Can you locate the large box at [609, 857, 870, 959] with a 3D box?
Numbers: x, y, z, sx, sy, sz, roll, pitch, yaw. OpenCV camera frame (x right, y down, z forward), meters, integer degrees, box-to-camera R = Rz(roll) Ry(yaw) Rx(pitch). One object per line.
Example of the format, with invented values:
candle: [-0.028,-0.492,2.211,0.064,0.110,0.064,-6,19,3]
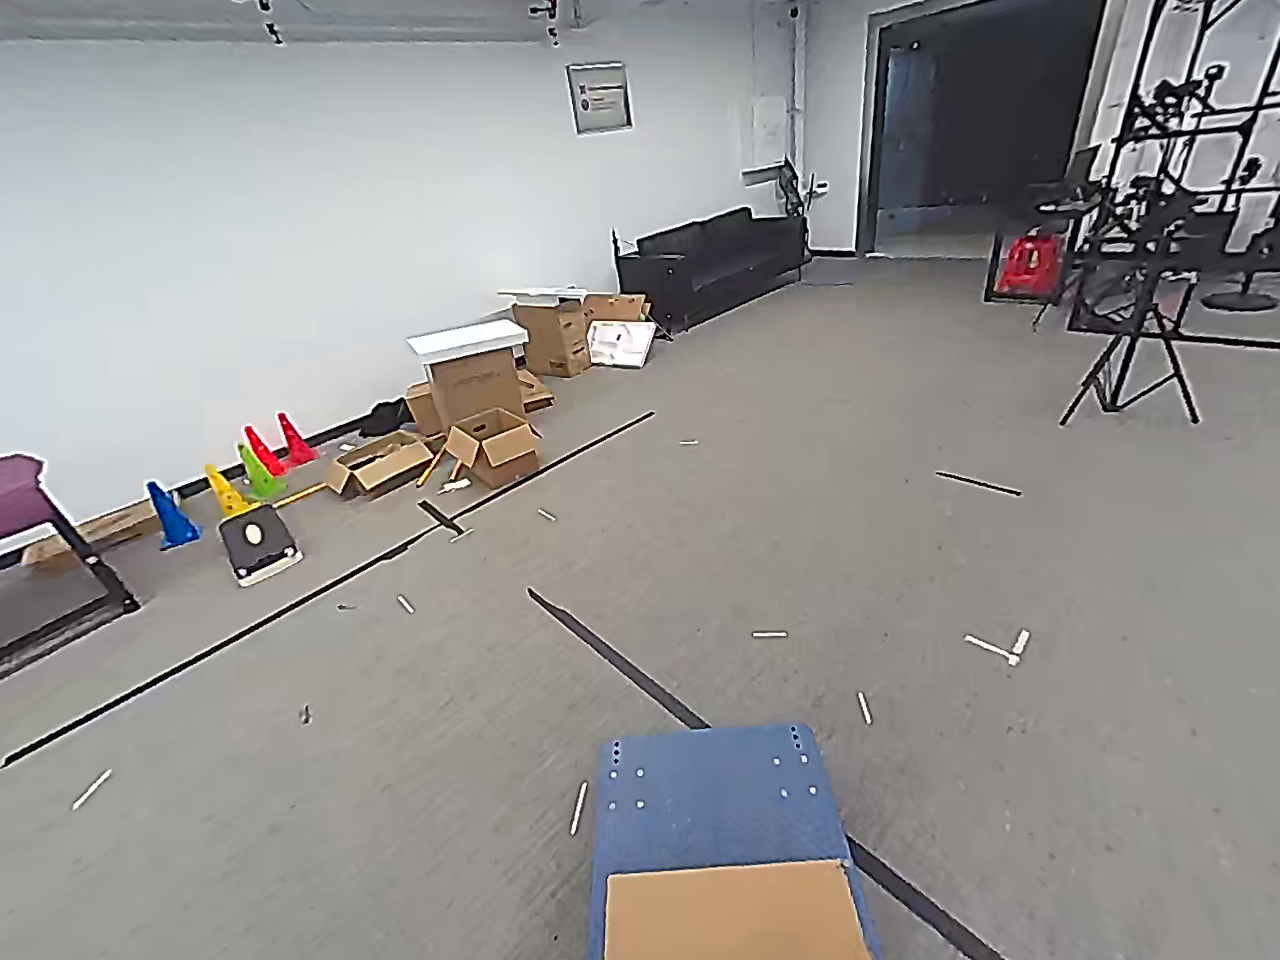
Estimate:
large box: [0.165,0.875,0.876,0.408,0.320,0.320,-6,30,2]
